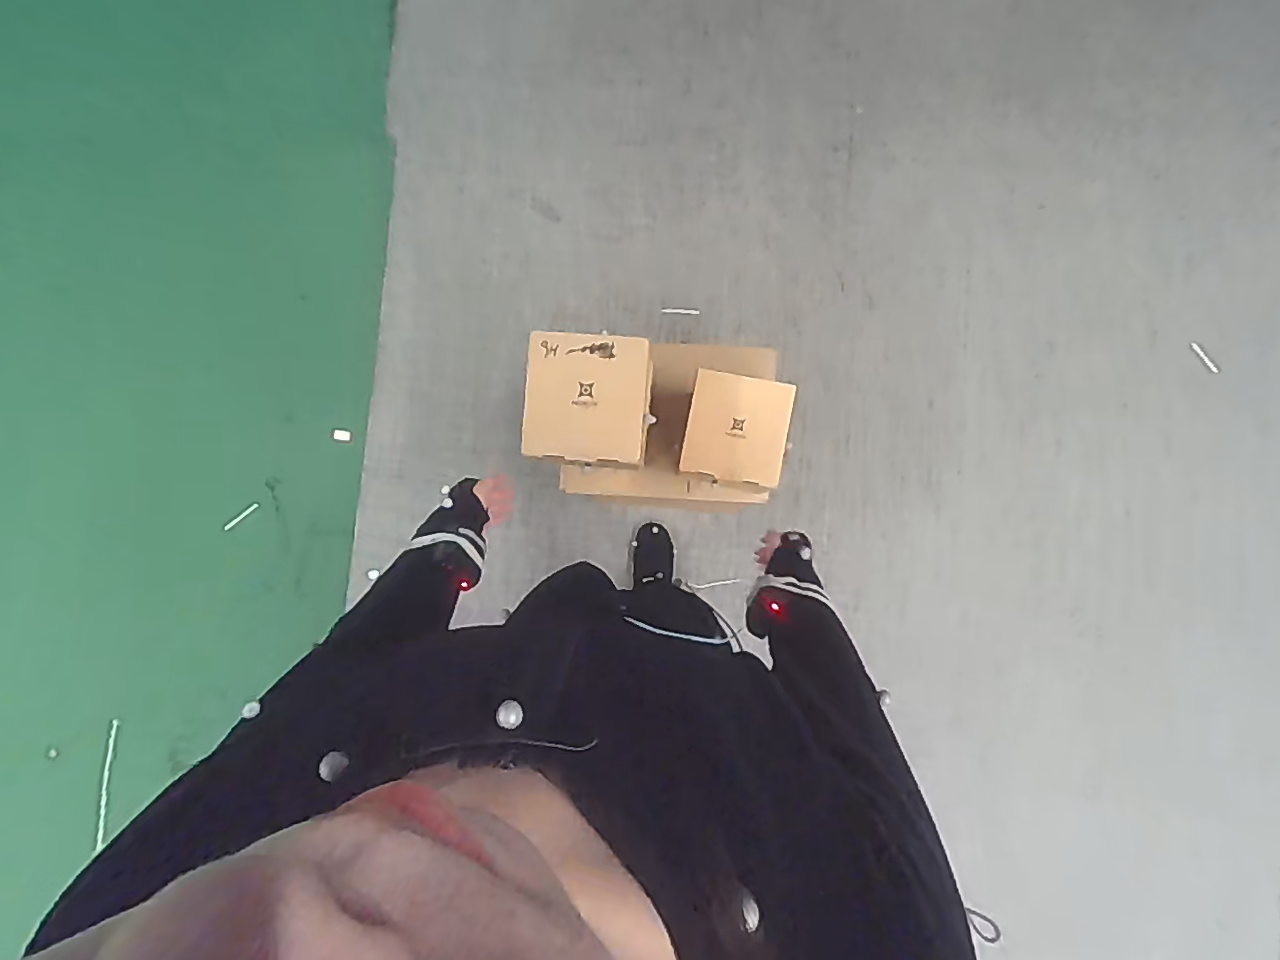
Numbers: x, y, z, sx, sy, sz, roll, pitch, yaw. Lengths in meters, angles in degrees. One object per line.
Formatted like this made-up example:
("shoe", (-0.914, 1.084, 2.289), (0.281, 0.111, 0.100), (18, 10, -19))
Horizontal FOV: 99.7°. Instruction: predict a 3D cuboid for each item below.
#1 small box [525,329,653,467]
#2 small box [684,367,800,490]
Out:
("small box", (-0.068, -0.113, 0.814), (0.168, 0.176, 0.179), (4, 89, 1))
("small box", (0.172, -0.083, 0.962), (0.168, 0.176, 0.179), (11, 88, 5))
